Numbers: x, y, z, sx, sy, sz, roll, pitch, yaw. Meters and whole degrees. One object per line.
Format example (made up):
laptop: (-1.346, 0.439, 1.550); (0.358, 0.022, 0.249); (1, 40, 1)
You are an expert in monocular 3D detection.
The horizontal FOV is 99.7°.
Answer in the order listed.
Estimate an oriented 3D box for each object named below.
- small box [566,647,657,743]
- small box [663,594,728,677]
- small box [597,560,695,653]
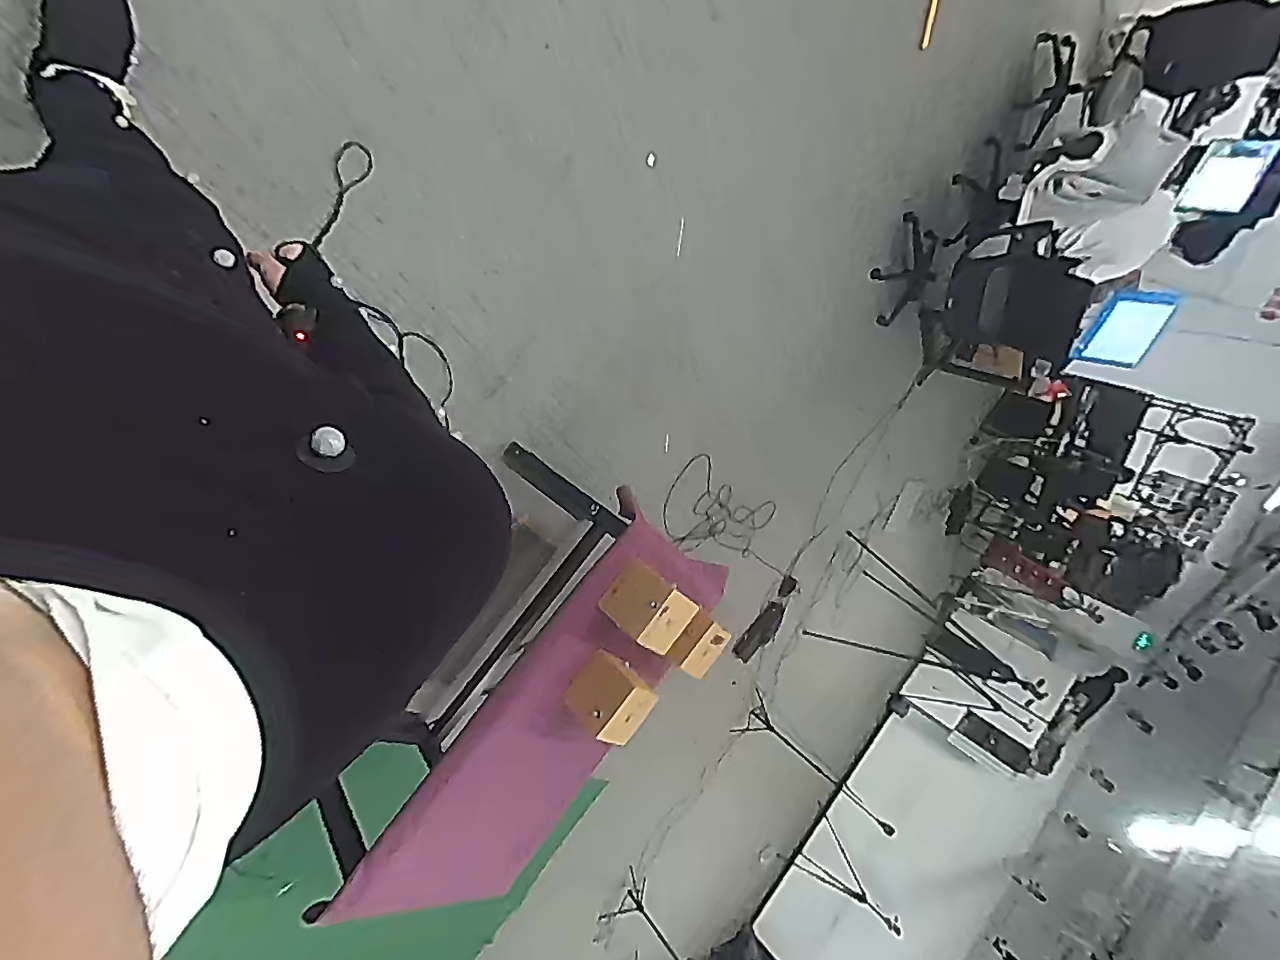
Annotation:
small box: (-0.090, 0.619, 1.559); (0.179, 0.176, 0.168); (-51, 140, -8)
small box: (0.143, 0.484, 1.710); (0.179, 0.176, 0.168); (-50, 139, -7)
small box: (0.017, 0.344, 1.489); (0.168, 0.176, 0.179); (-53, 142, -7)
